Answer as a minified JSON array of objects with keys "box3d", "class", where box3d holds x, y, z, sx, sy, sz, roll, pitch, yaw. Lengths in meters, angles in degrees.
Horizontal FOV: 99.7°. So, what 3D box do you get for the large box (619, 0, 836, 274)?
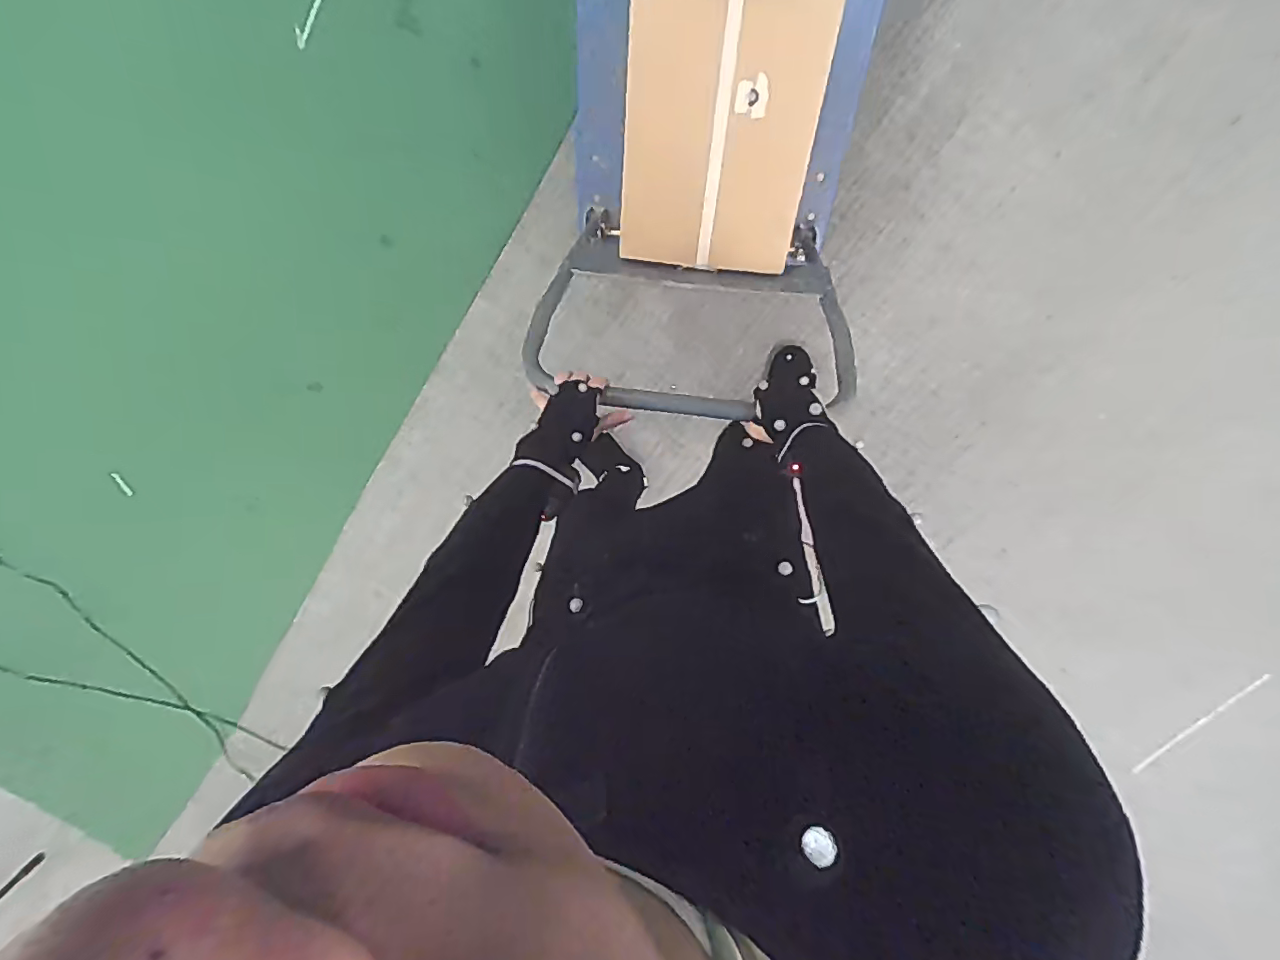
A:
[{"box3d":[0.146,-0.655,1.037,0.320,0.320,0.408,8,127,2],"class":"large box"}]
